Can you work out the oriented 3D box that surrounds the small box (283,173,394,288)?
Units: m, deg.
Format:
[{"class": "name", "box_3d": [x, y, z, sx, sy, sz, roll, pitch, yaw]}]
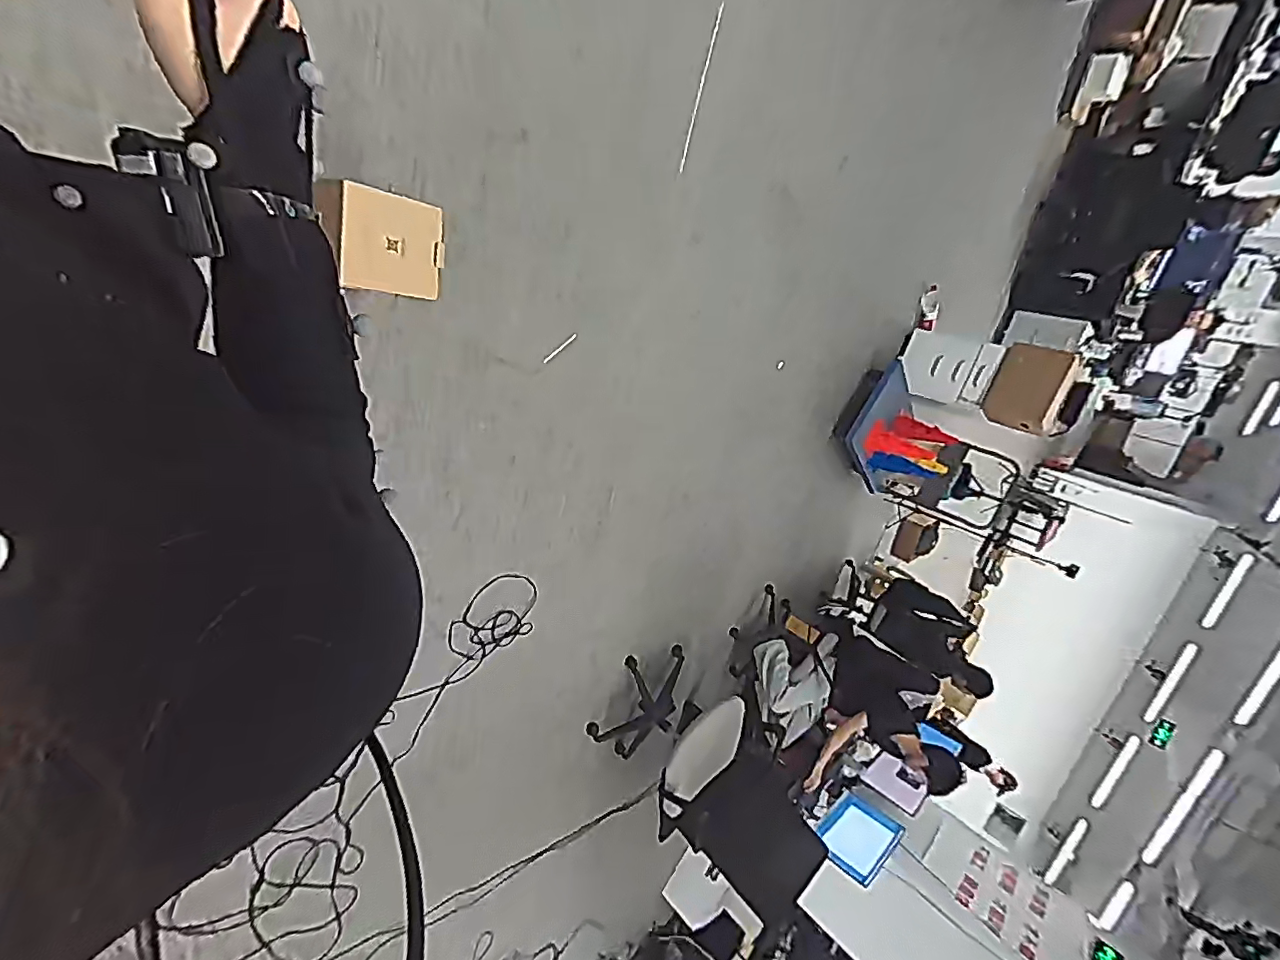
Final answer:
[{"class": "small box", "box_3d": [-0.610, -0.505, 1.101, 0.168, 0.176, 0.179, -7, 116, -46]}]

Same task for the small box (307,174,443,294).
[{"class": "small box", "box_3d": [-0.491, -0.454, 1.000, 0.179, 0.176, 0.168, -7, 116, -45]}]
